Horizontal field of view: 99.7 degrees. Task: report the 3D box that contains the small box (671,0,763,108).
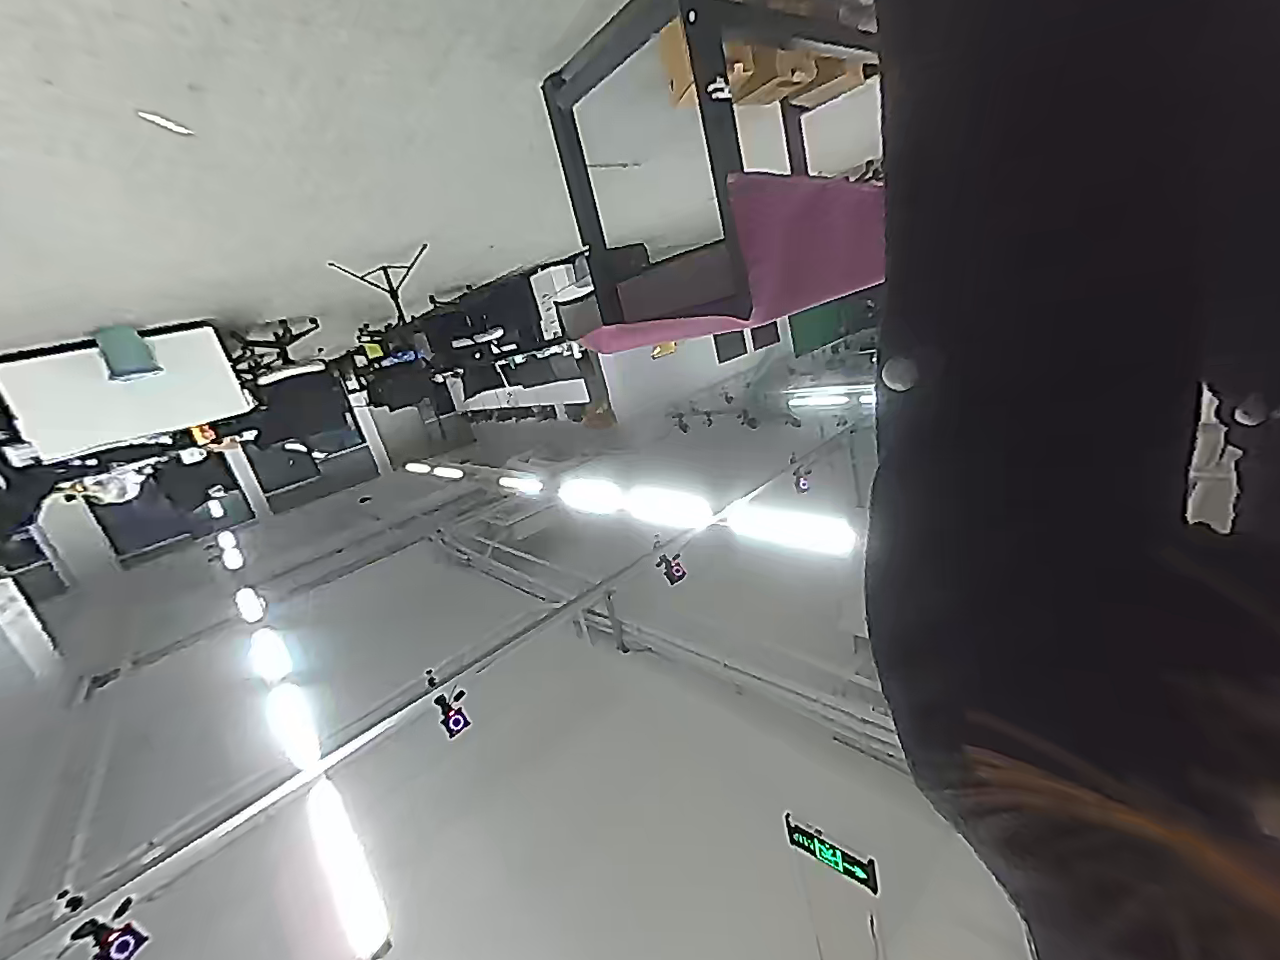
[{"bbox_3d":[0.184,-1.065,1.340,0.168,0.176,0.179,-17,-163,-7],"label":"small box"}]
